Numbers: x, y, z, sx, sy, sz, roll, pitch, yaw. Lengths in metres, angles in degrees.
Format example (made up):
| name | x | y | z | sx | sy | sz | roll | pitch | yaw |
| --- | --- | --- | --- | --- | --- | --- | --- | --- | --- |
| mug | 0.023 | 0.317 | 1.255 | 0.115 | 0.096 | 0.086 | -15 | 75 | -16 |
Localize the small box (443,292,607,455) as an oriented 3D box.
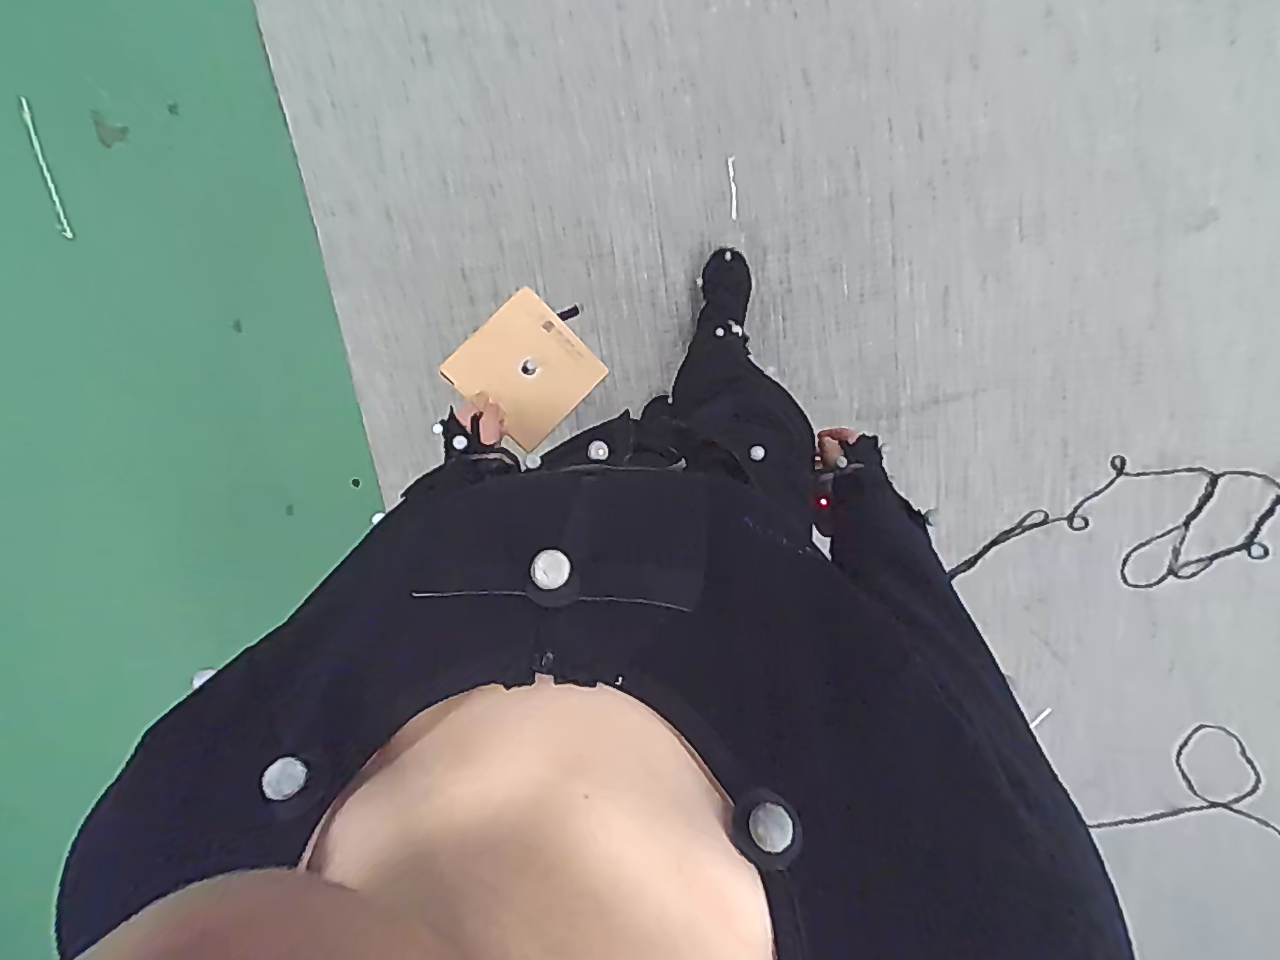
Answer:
| name | x | y | z | sx | sy | sz | roll | pitch | yaw |
| --- | --- | --- | --- | --- | --- | --- | --- | --- | --- |
| small box | -0.172 | -0.155 | 0.822 | 0.168 | 0.179 | 0.176 | 45 | 80 | -13 |
